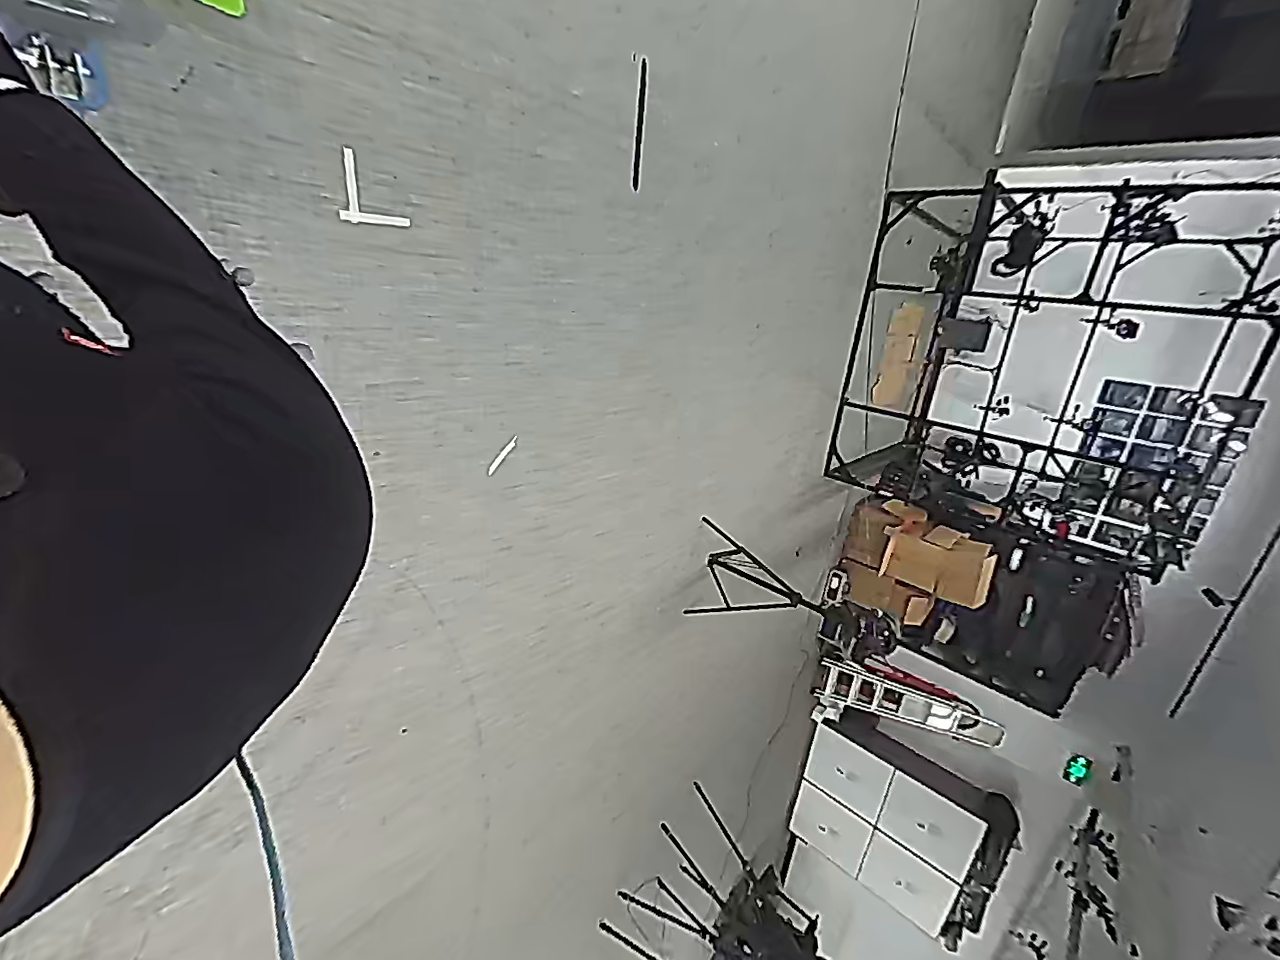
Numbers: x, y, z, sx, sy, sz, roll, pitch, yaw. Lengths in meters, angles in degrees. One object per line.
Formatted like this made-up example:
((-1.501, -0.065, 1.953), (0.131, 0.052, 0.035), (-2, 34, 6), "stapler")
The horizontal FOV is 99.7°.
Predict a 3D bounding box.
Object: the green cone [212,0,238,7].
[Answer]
((-0.705, -0.947, 0.856), (0.202, 0.368, 0.200), (-12, 116, -49), "green cone")
